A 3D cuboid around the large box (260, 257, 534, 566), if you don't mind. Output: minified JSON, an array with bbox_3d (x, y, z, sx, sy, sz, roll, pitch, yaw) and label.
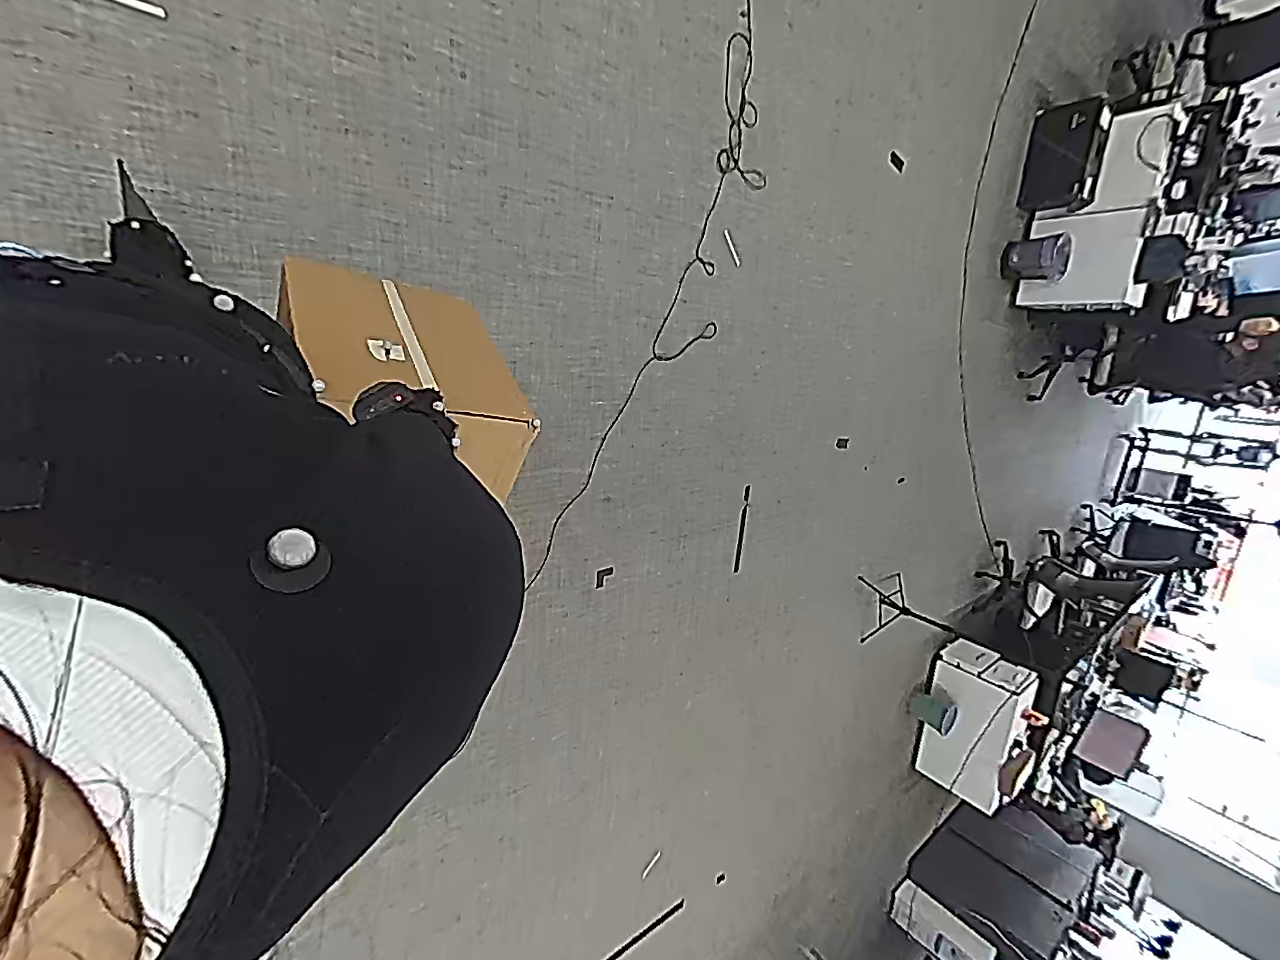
[{"bbox_3d":[-0.438,-0.110,0.925,0.320,0.408,0.320,2,131,-39],"label":"large box"}]
